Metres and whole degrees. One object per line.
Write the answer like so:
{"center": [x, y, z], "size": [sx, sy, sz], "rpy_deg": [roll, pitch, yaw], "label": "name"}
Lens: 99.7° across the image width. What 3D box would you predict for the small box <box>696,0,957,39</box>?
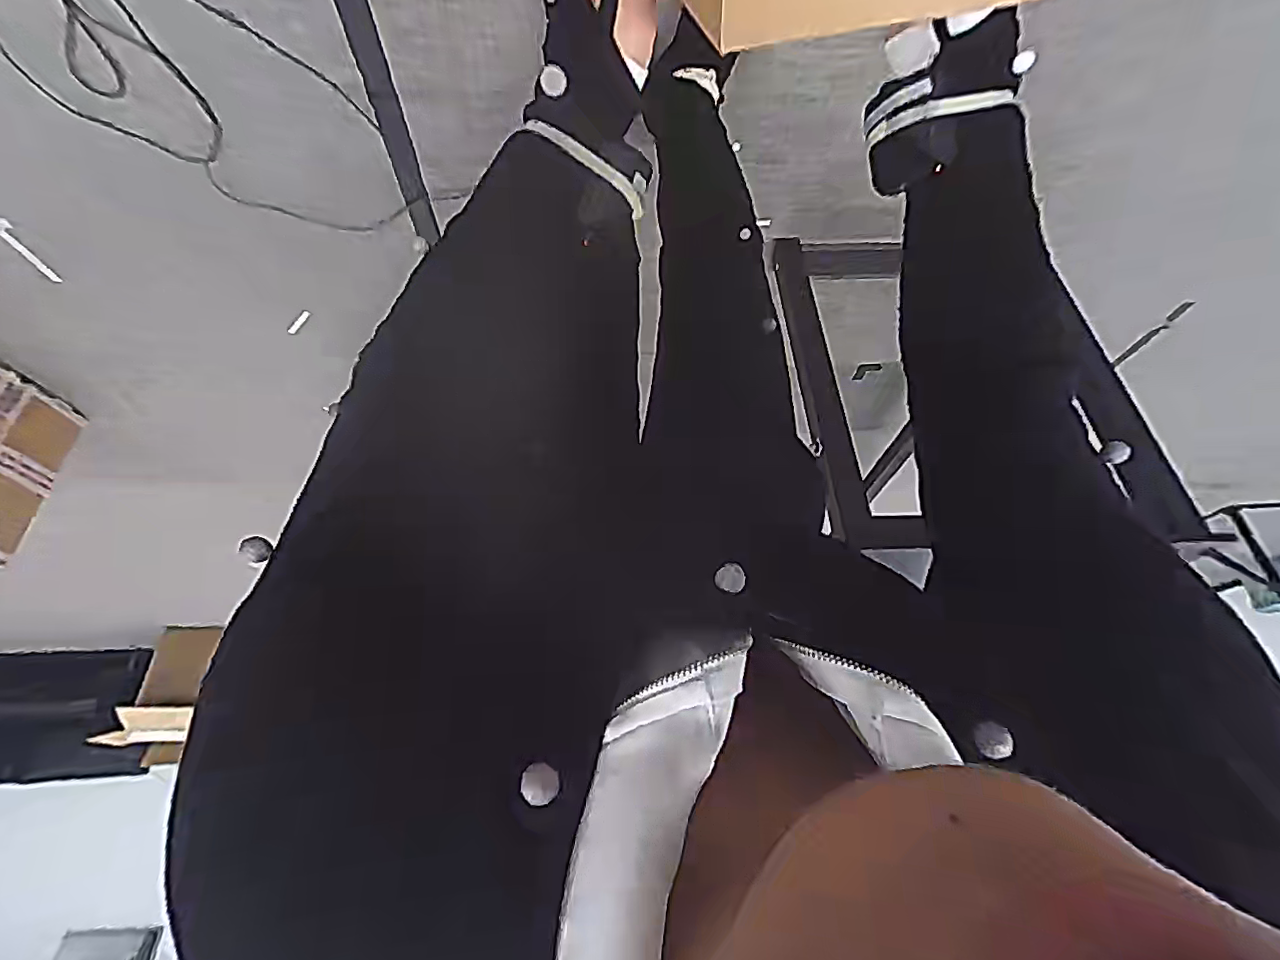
{"center": [0.097, -0.343, 0.245], "size": [0.168, 0.176, 0.179], "rpy_deg": [-10, 142, 0], "label": "small box"}
